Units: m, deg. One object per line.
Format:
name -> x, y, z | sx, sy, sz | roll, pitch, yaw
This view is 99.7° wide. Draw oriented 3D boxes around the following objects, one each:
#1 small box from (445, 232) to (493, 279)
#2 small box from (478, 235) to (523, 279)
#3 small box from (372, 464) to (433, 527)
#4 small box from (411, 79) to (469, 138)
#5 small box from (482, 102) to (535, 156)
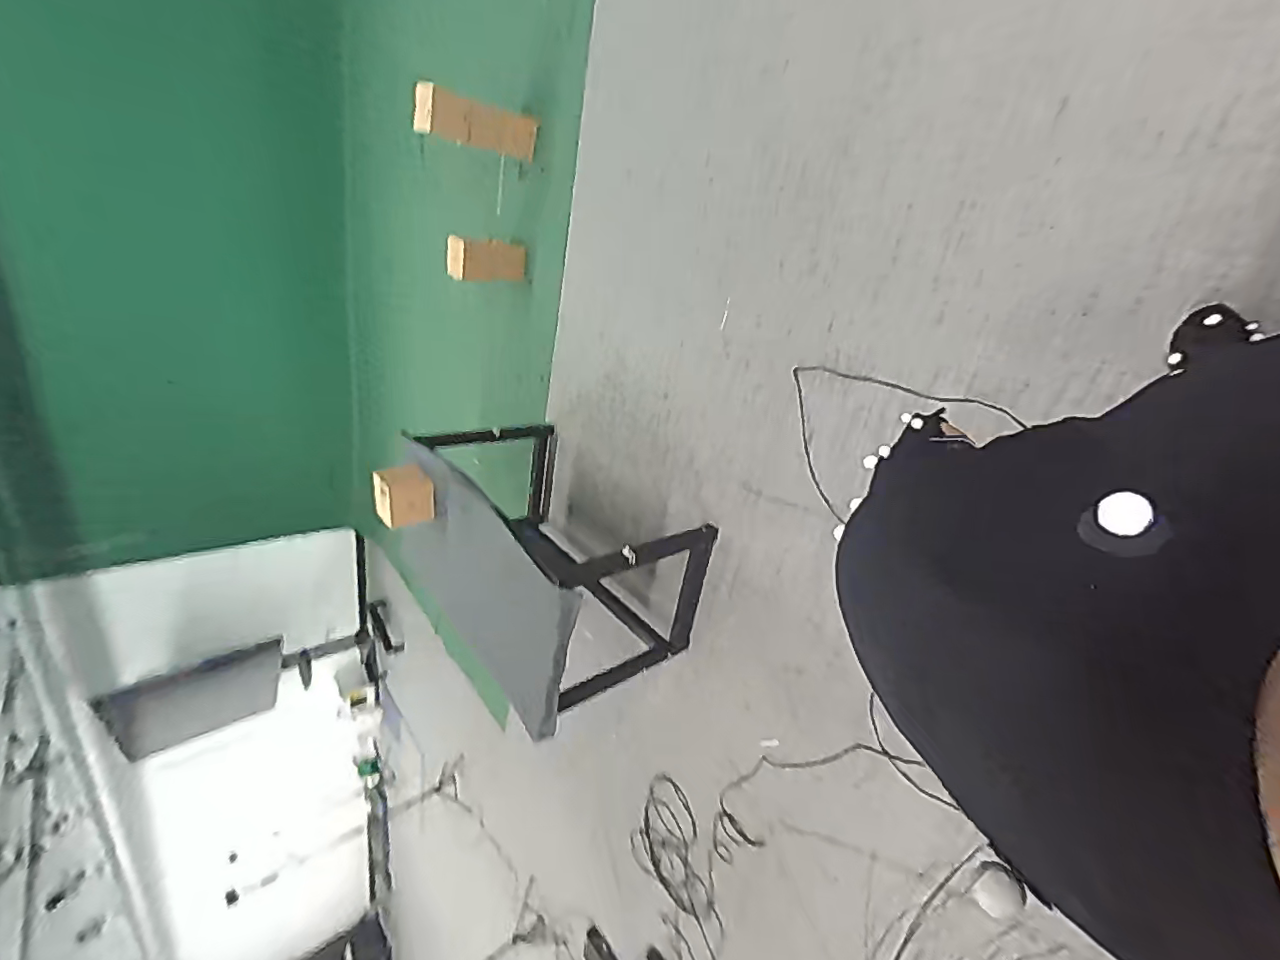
small box -> -0.823, -1.078, 2.602 | 0.168, 0.176, 0.179 | 33, 121, 38
small box -> -0.703, -1.113, 2.705 | 0.168, 0.176, 0.179 | 31, 120, 39
small box -> -0.920, 0.053, 2.099 | 0.168, 0.176, 0.179 | 31, 124, 39
small box -> -0.842, -1.560, 2.272 | 0.179, 0.176, 0.168 | 37, 122, 38
small box -> -0.607, -1.617, 2.495 | 0.179, 0.176, 0.168 | 40, 126, 35
